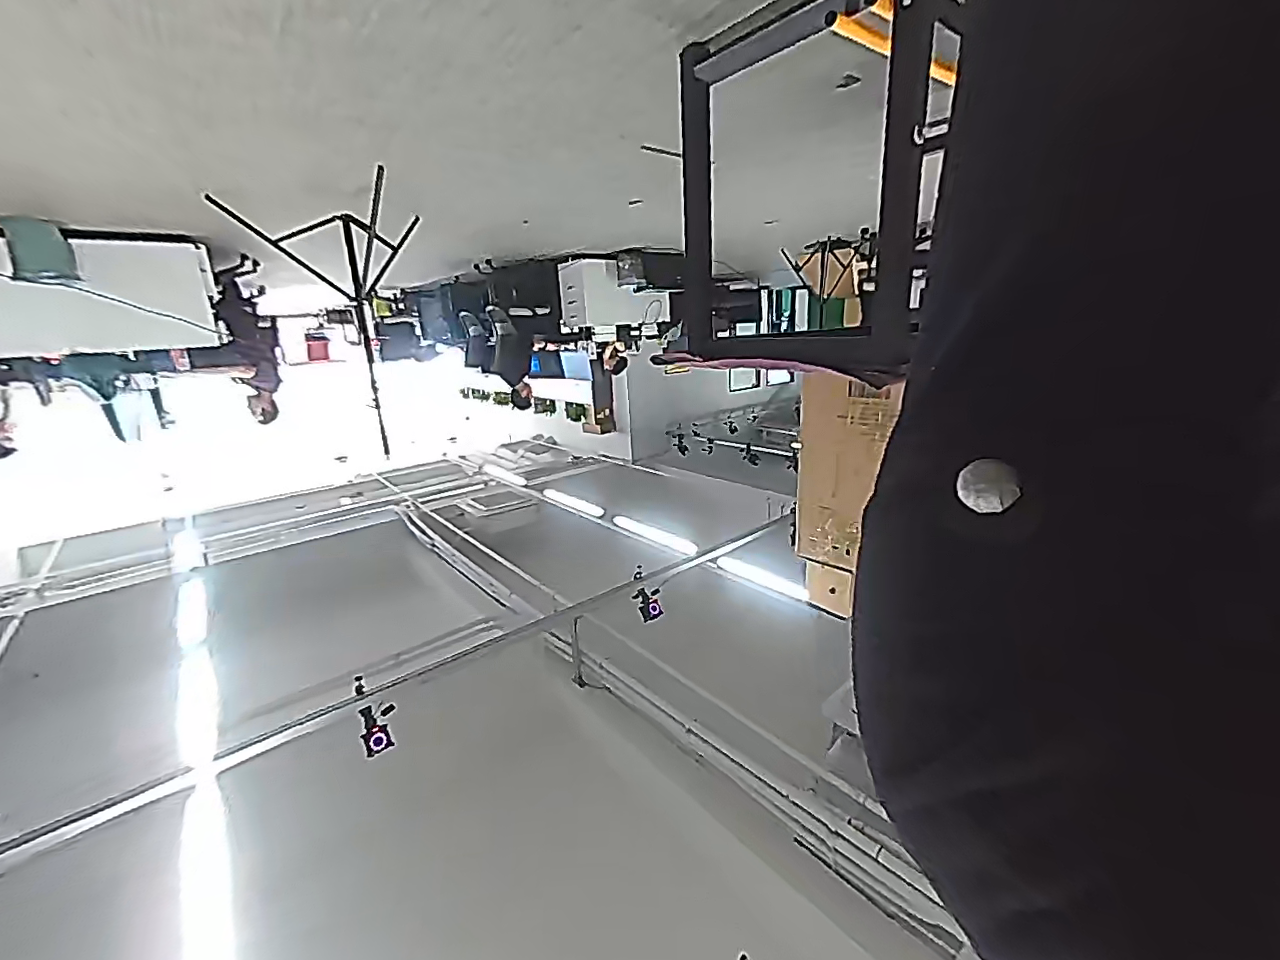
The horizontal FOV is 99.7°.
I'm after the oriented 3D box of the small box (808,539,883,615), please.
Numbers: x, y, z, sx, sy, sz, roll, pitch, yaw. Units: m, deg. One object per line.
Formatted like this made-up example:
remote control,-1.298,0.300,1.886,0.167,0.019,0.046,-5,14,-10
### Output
small box,0.663,0.303,1.745,0.179,0.176,0.168,-16,-159,-32
